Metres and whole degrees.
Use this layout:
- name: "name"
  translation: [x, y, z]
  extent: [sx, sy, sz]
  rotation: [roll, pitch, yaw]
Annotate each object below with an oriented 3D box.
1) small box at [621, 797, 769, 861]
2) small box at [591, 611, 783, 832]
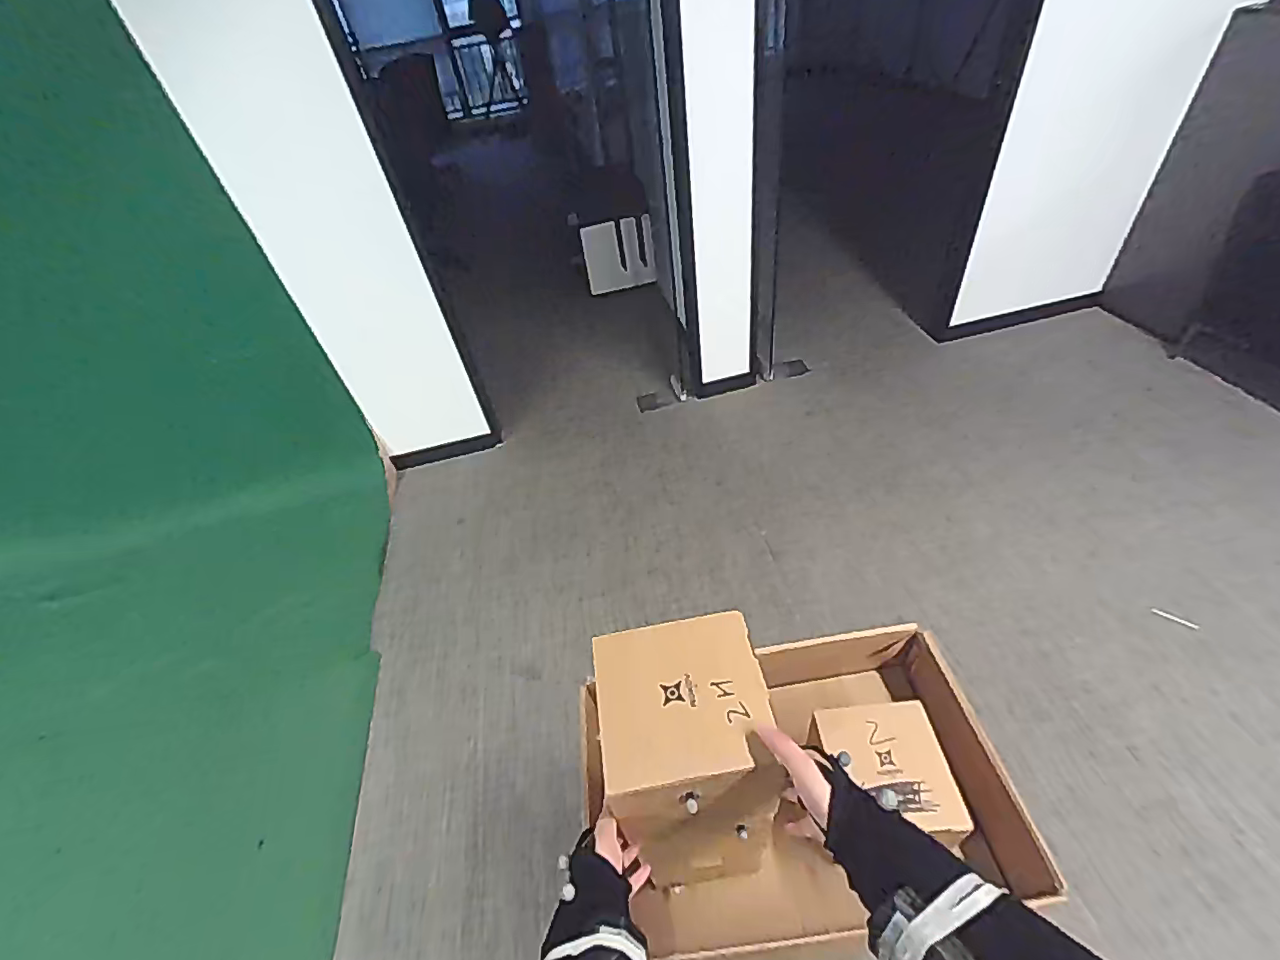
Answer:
- name: "small box"
  translation: [0.064, 0.390, 0.728]
  extent: [0.179, 0.176, 0.168]
  rotation: [-9, 44, -2]
- name: "small box"
  translation: [0.048, 0.275, 0.611]
  extent: [0.179, 0.176, 0.168]
  rotation: [-9, 45, -2]
